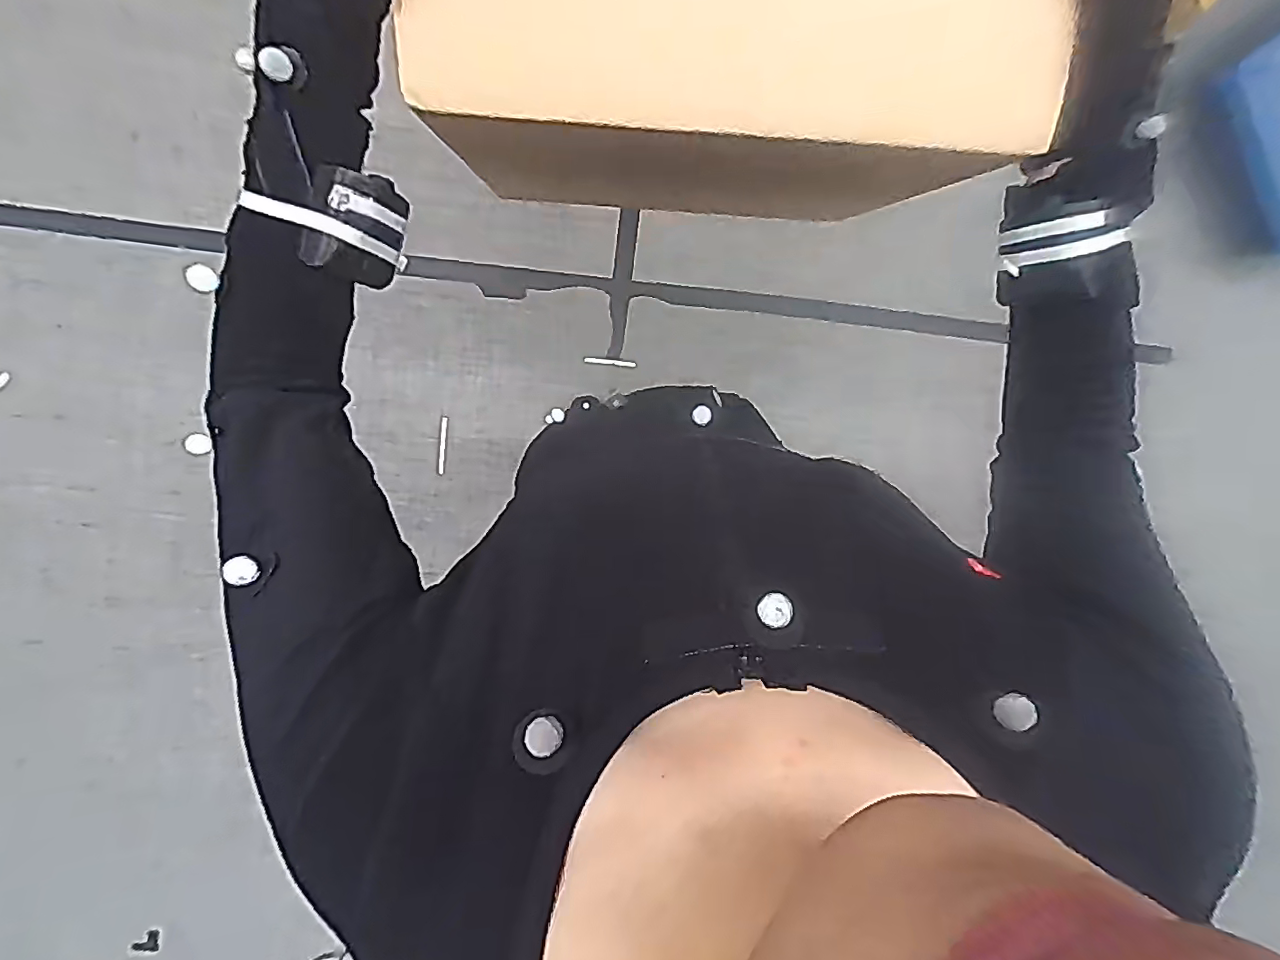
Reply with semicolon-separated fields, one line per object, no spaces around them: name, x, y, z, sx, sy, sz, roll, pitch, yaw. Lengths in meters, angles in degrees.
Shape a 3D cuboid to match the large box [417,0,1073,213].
large box;0.058;-0.413;0.435;0.408;0.320;0.320;0;109;-5
